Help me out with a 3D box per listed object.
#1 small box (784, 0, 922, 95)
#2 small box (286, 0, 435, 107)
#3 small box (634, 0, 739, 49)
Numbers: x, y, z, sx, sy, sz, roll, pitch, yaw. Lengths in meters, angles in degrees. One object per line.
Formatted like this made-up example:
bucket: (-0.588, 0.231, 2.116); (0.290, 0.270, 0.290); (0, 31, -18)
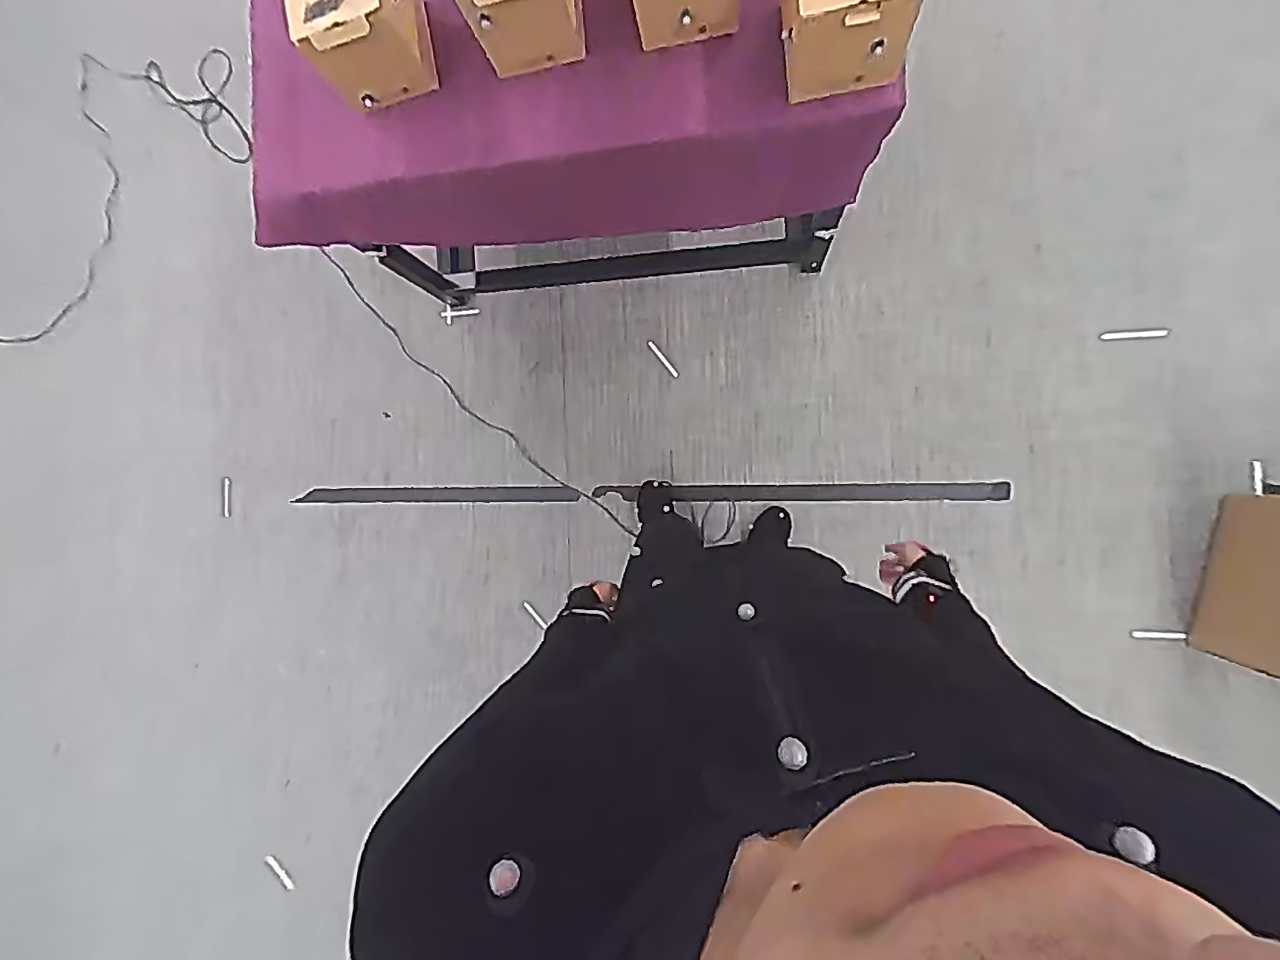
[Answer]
small box: (0.307, -0.711, 0.799); (0.168, 0.176, 0.179); (-4, 88, 10)
small box: (-0.481, -0.793, 0.940); (0.168, 0.176, 0.179); (-12, 86, 9)
small box: (0.067, -0.833, 0.843); (0.168, 0.176, 0.179); (-3, 89, 11)
